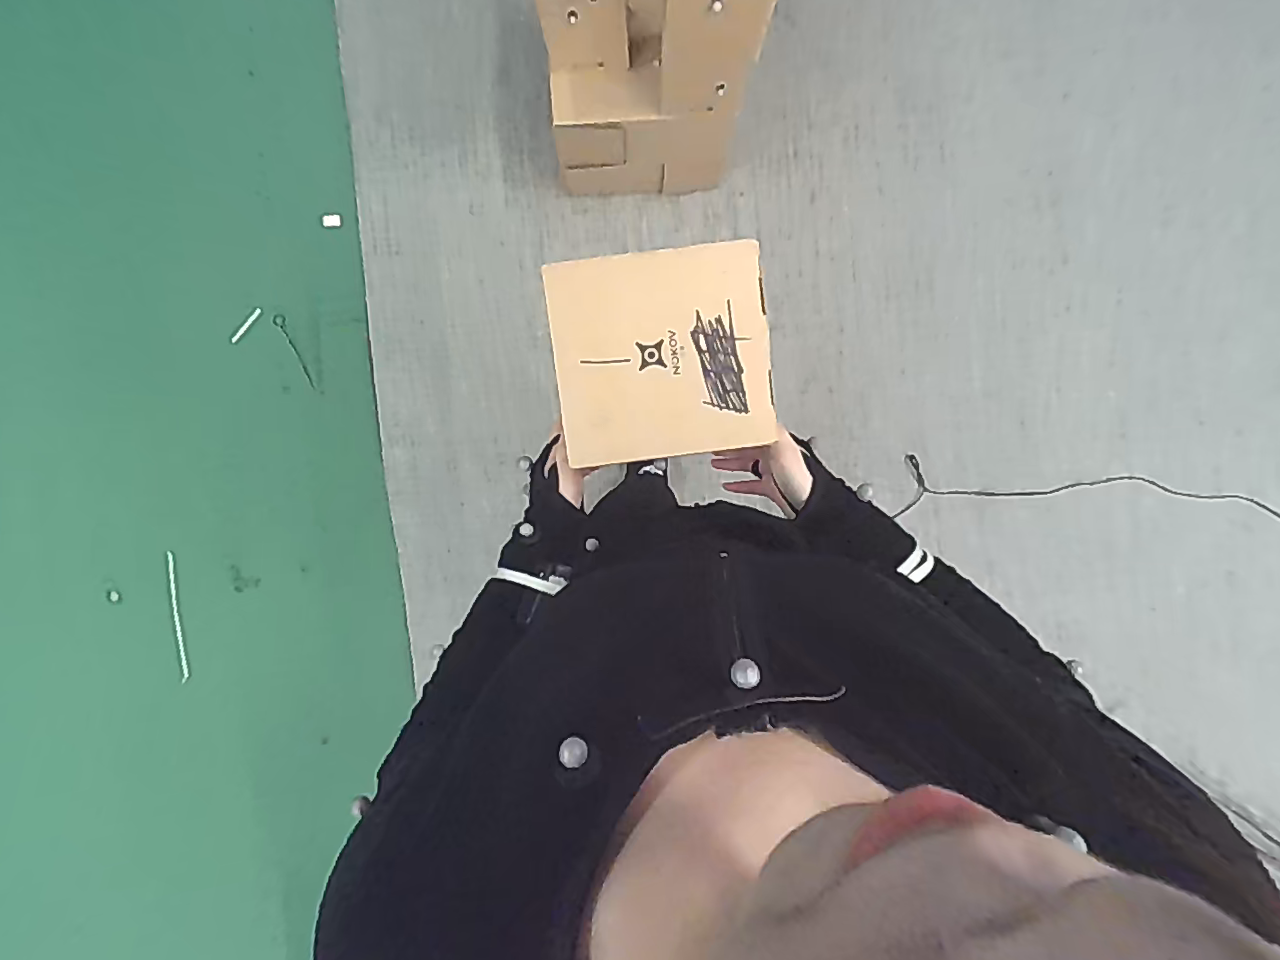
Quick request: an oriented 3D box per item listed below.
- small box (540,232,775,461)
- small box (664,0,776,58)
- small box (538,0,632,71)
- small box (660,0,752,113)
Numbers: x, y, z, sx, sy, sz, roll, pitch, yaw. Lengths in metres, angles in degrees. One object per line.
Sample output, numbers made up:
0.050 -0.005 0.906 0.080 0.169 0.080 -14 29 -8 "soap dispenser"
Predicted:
0.014 -0.113 0.509 0.179 0.176 0.168 -7 95 0 "small box"
0.134 -0.843 0.895 0.179 0.176 0.168 2 92 0 "small box"
-0.103 -0.952 1.061 0.168 0.176 0.179 1 90 2 "small box"
0.125 -0.855 1.058 0.168 0.176 0.179 1 91 0 "small box"
